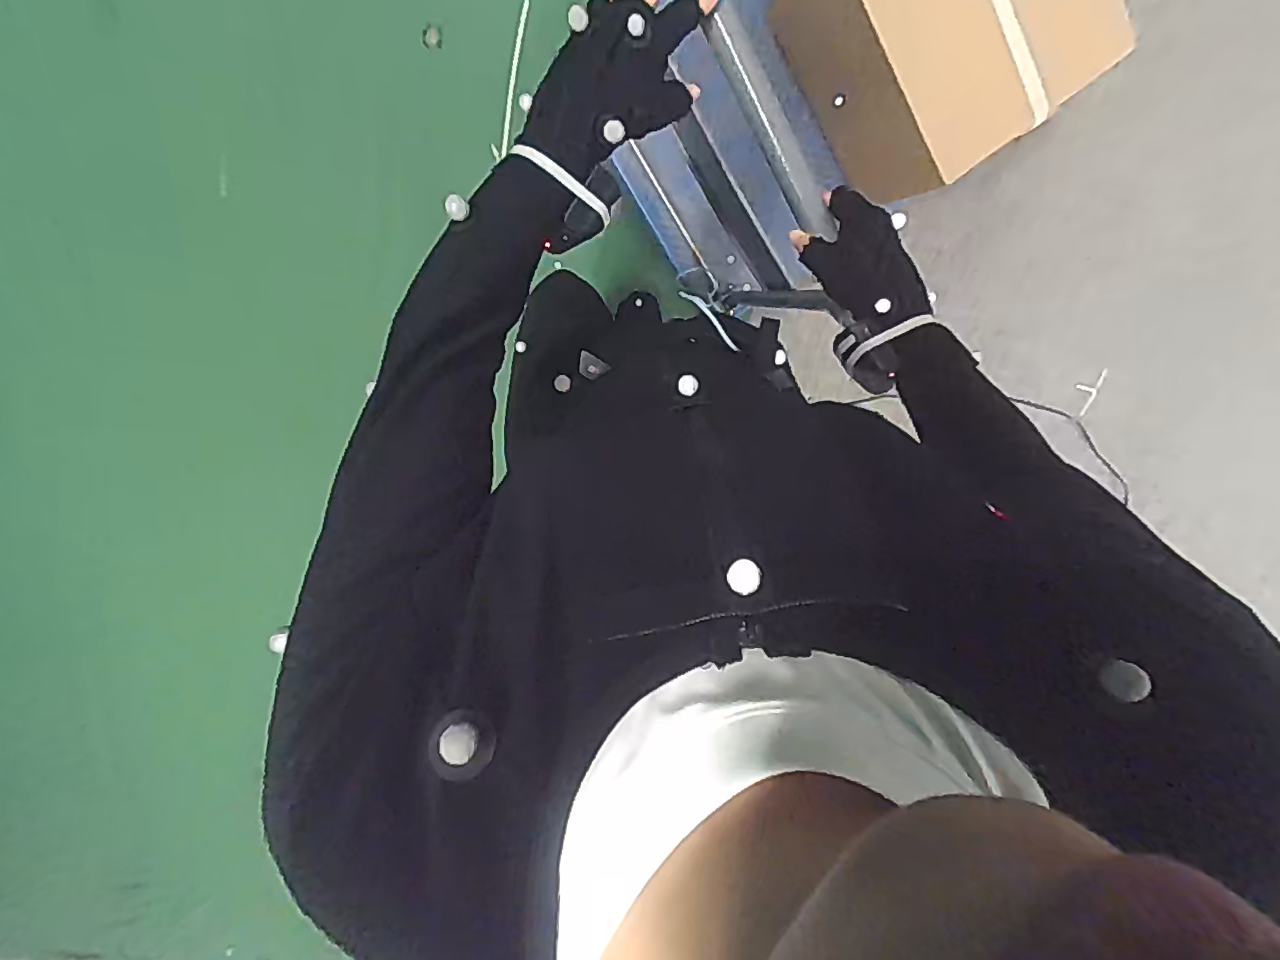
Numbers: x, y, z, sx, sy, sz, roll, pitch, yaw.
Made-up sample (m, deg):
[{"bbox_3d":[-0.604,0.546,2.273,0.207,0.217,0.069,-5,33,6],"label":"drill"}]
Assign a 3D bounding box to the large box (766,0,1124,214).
[{"bbox_3d":[0.472,-0.735,0.907,0.320,0.320,0.408,-34,106,9],"label":"large box"}]
